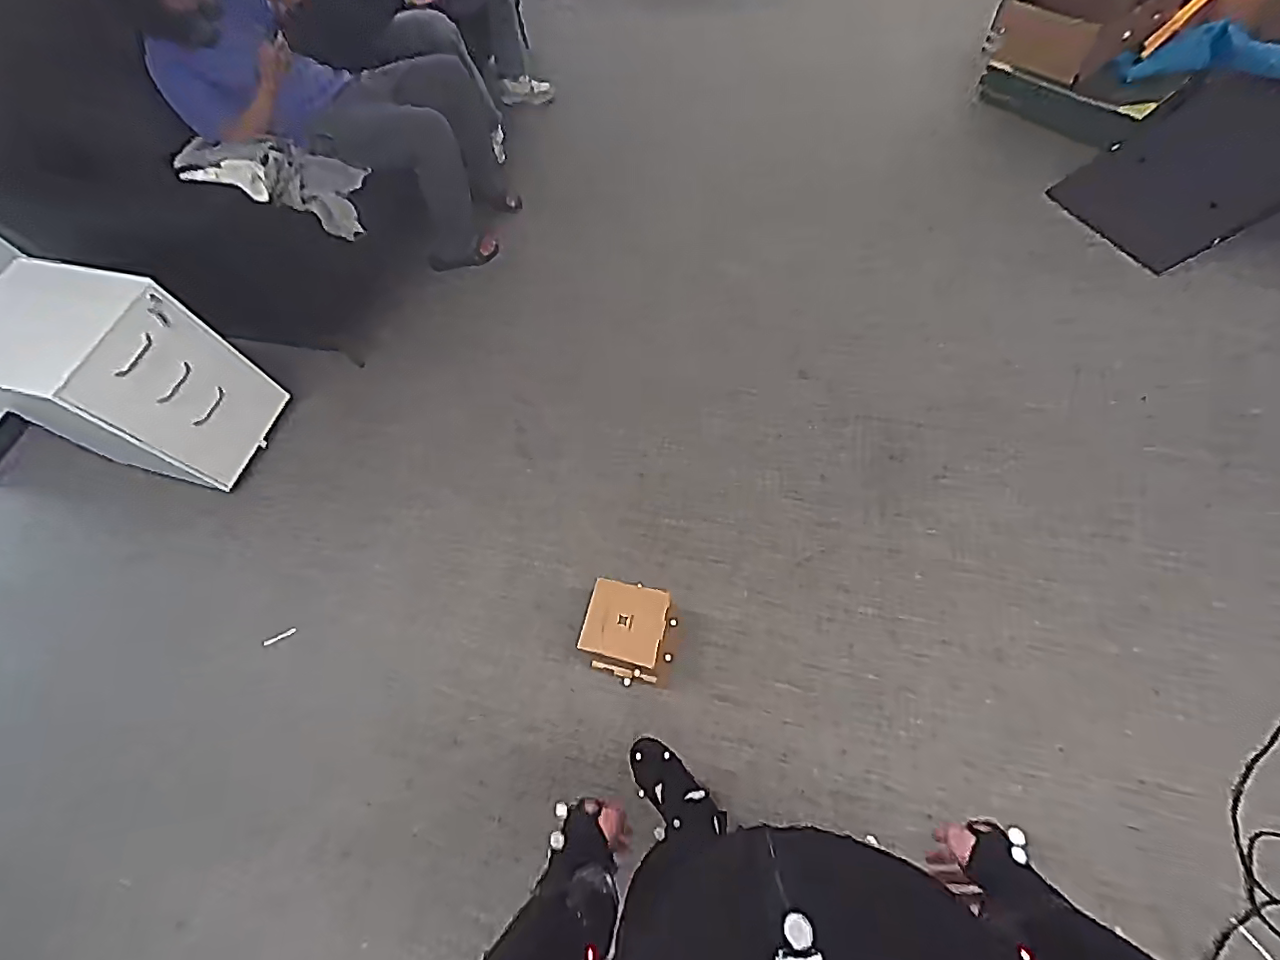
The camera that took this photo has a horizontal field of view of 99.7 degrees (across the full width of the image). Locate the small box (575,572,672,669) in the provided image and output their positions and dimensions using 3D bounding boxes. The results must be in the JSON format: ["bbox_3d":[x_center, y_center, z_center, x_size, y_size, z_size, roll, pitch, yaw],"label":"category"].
[{"bbox_3d":[-0.028,0.330,1.250,0.179,0.176,0.168,10,65,13],"label":"small box"}]

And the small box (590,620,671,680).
[{"bbox_3d":[-0.016,0.412,1.411,0.168,0.176,0.179,9,65,12],"label":"small box"}]
